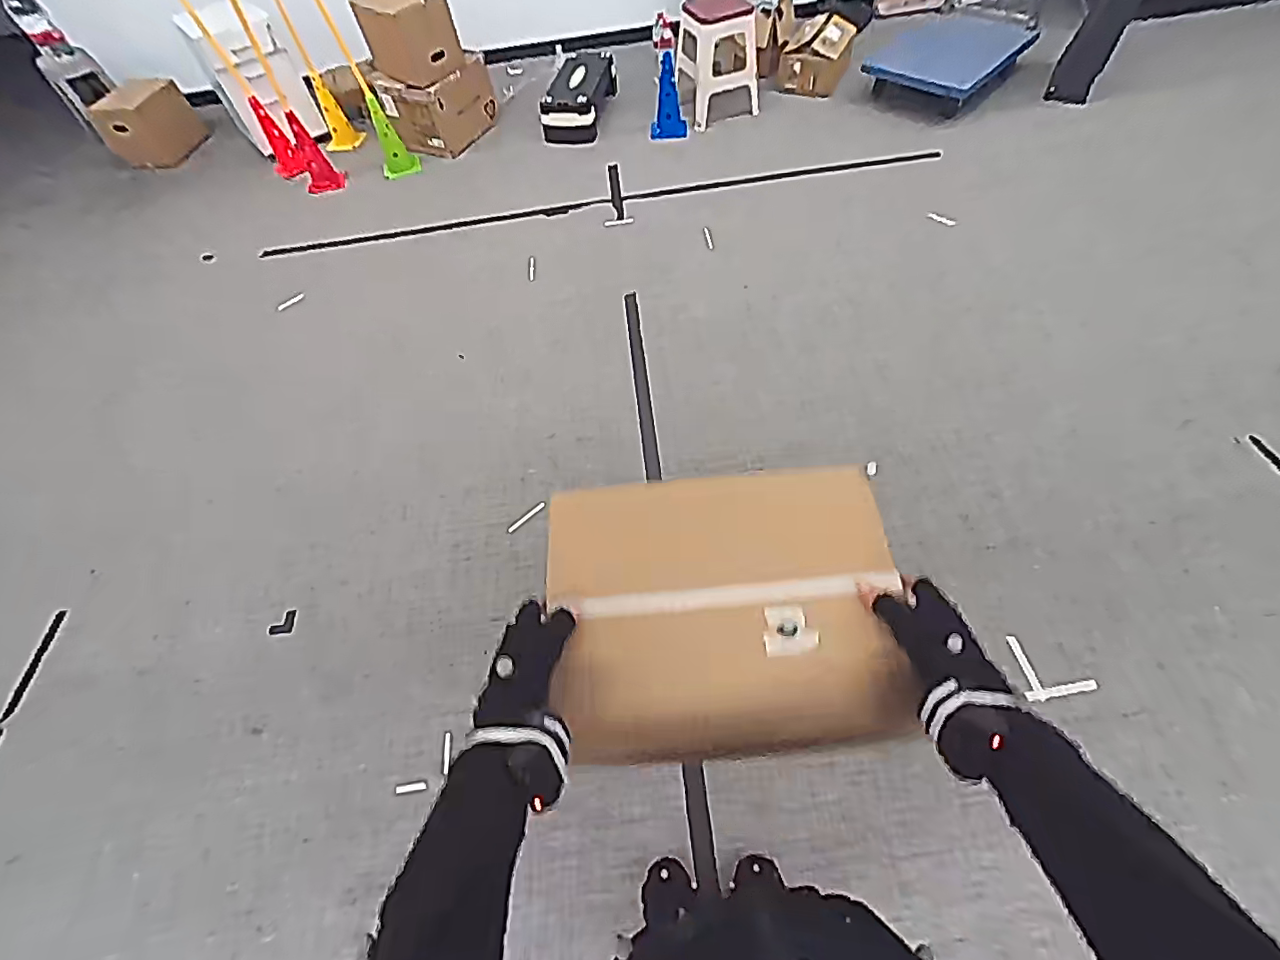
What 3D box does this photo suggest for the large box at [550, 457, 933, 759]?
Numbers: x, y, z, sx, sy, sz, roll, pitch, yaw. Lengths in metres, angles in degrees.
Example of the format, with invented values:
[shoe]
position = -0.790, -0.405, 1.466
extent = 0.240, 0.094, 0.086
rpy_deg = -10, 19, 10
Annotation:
[large box]
position = 0.102, 0.195, 0.755
extent = 0.408, 0.320, 0.320
rpy_deg = -5, 61, 2
